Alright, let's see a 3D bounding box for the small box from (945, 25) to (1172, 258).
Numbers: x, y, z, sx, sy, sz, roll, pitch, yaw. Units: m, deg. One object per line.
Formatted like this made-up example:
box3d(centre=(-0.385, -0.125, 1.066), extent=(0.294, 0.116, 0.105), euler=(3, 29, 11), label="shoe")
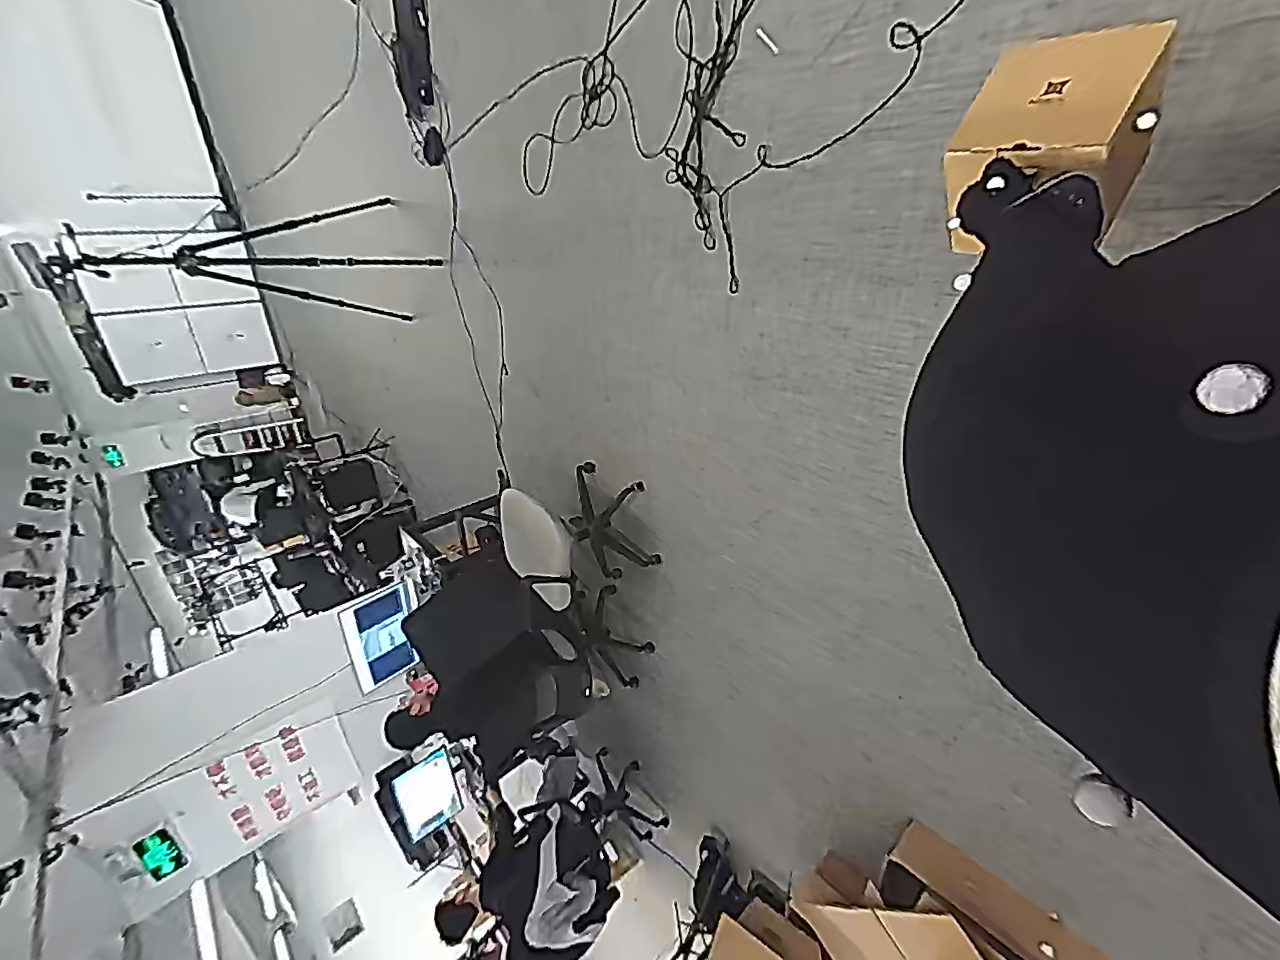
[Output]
box3d(centre=(0.517, -0.416, 0.688), extent=(0.168, 0.179, 0.176), euler=(27, 173, 41), label="small box")
